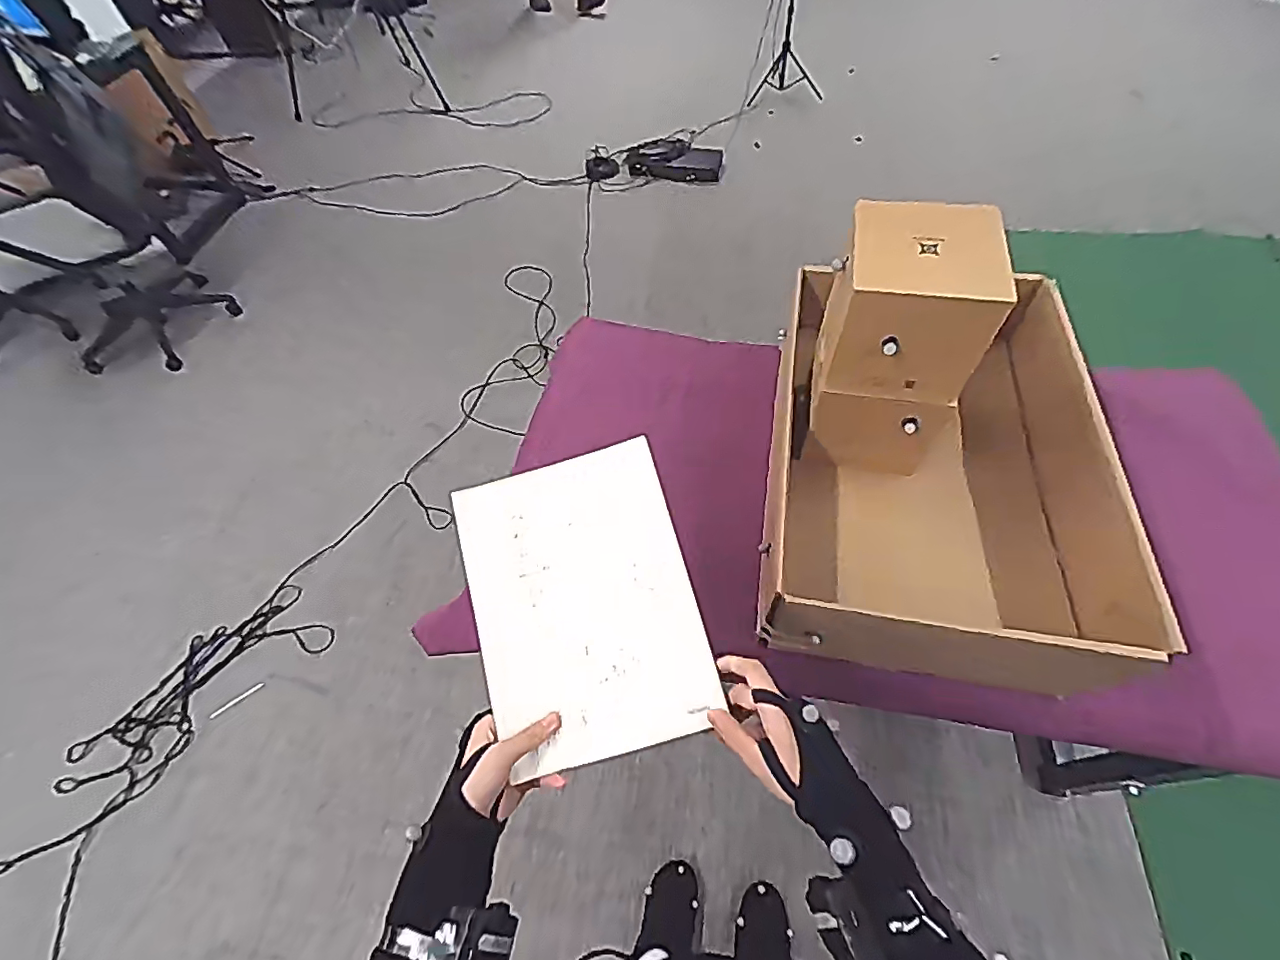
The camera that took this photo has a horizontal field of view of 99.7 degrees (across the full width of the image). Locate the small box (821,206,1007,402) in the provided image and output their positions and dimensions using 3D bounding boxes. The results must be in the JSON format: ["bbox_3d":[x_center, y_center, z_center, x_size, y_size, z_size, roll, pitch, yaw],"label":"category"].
[{"bbox_3d":[0.332,-0.220,0.690,0.168,0.176,0.179,8,58,11],"label":"small box"}]
